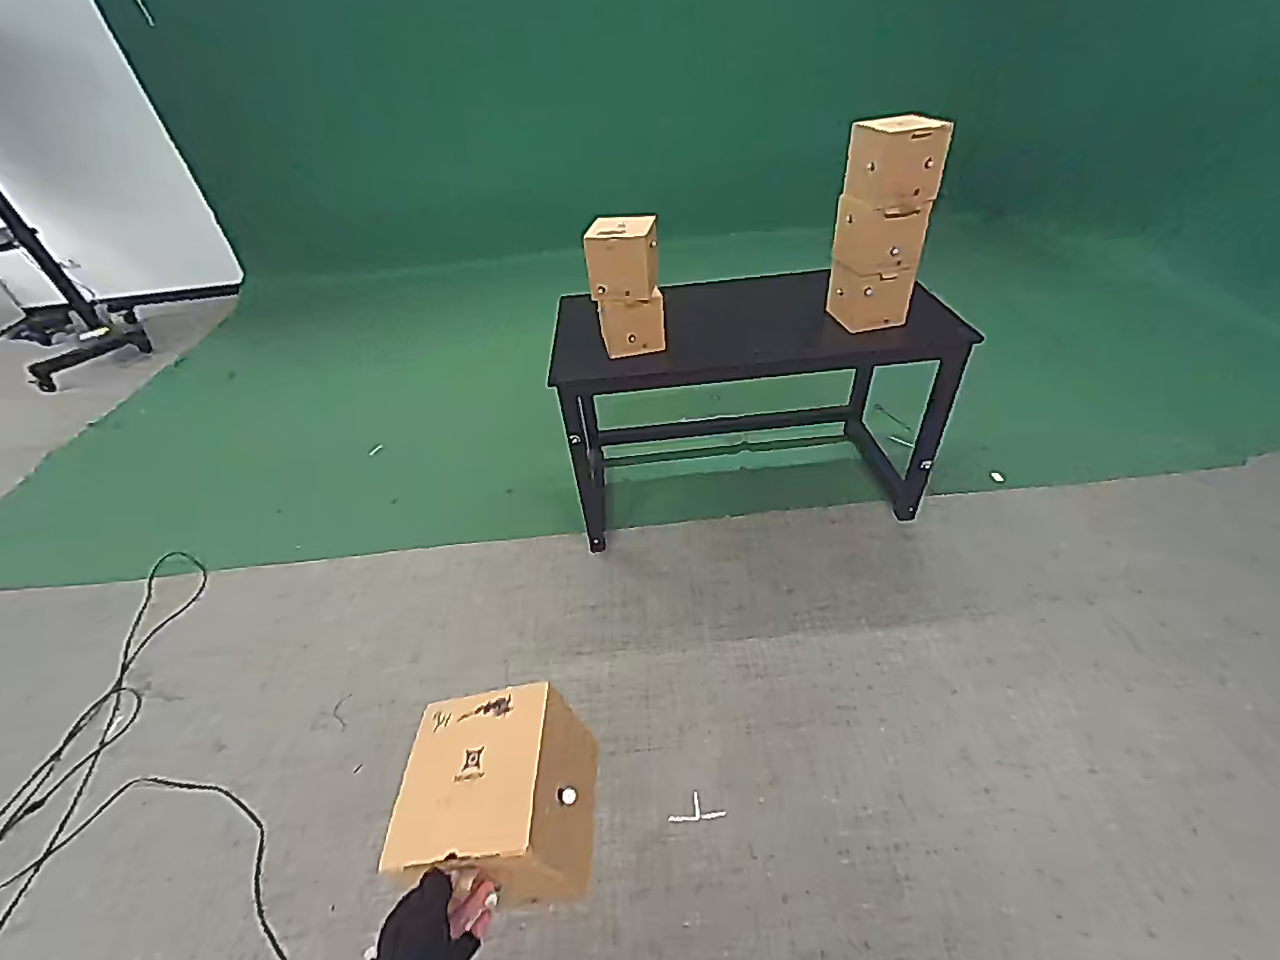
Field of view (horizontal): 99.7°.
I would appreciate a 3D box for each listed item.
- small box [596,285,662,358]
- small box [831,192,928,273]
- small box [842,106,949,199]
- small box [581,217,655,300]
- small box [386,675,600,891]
[{"bbox_3d":[-0.035,-0.481,1.588,0.168,0.176,0.179,-11,42,-6],"label":"small box"},{"bbox_3d":[0.640,-0.679,1.470,0.168,0.176,0.179,-12,41,-5],"label":"small box"},{"bbox_3d":[0.630,-0.816,1.354,0.168,0.176,0.179,-11,40,-5],"label":"small box"},{"bbox_3d":[-0.052,-0.604,1.480,0.168,0.176,0.179,3,41,10],"label":"small box"},{"bbox_3d":[-0.154,0.360,0.636,0.168,0.176,0.179,-14,40,11],"label":"small box"}]
